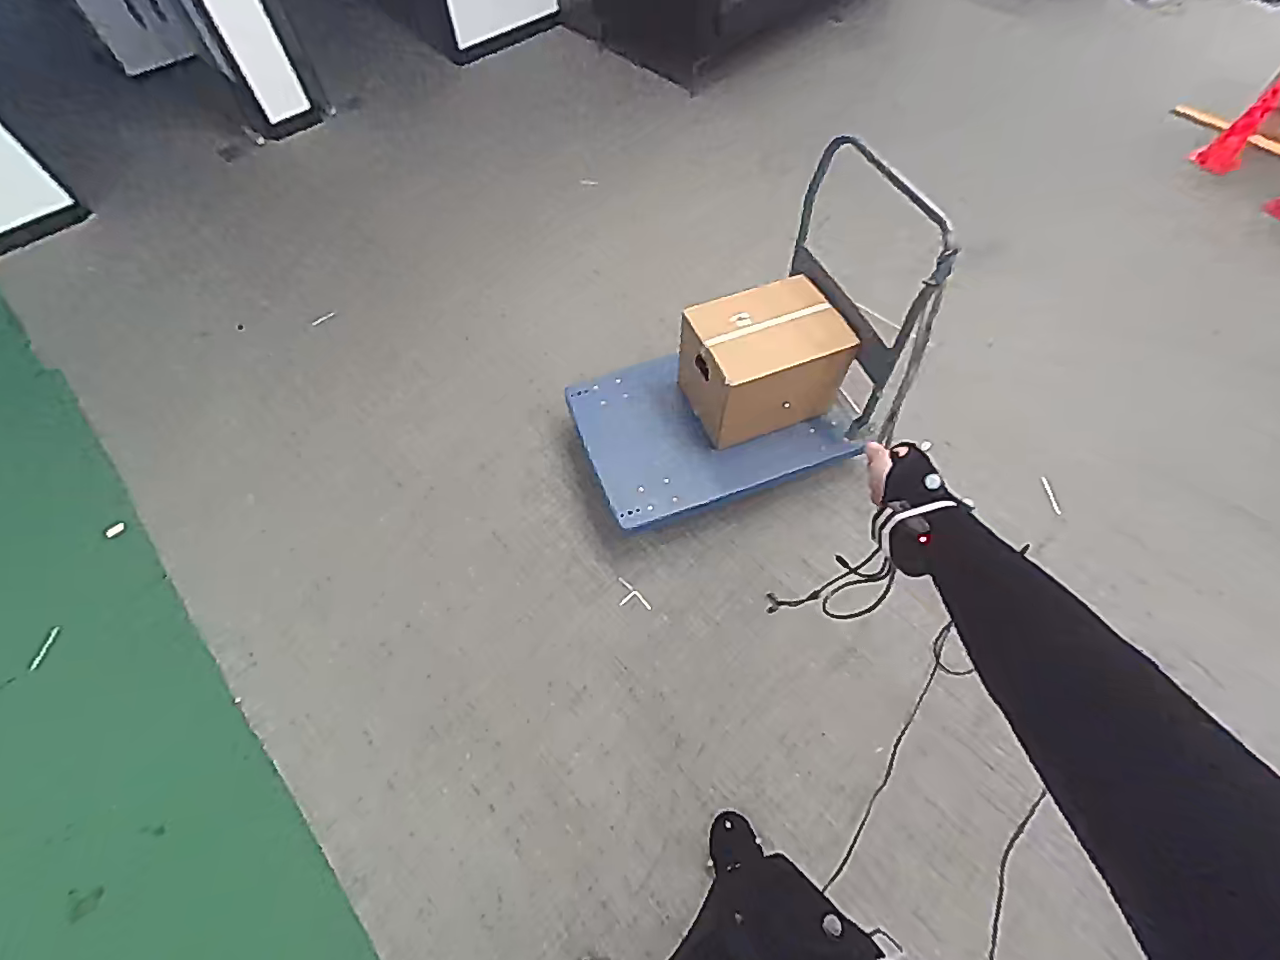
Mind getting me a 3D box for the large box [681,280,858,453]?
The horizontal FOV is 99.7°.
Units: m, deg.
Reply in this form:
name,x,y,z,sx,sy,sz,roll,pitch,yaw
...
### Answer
name,x,y,z,sx,sy,sz,roll,pitch,yaw
large box,0.368,-0.338,1.645,0.408,0.320,0.320,-20,60,-9
